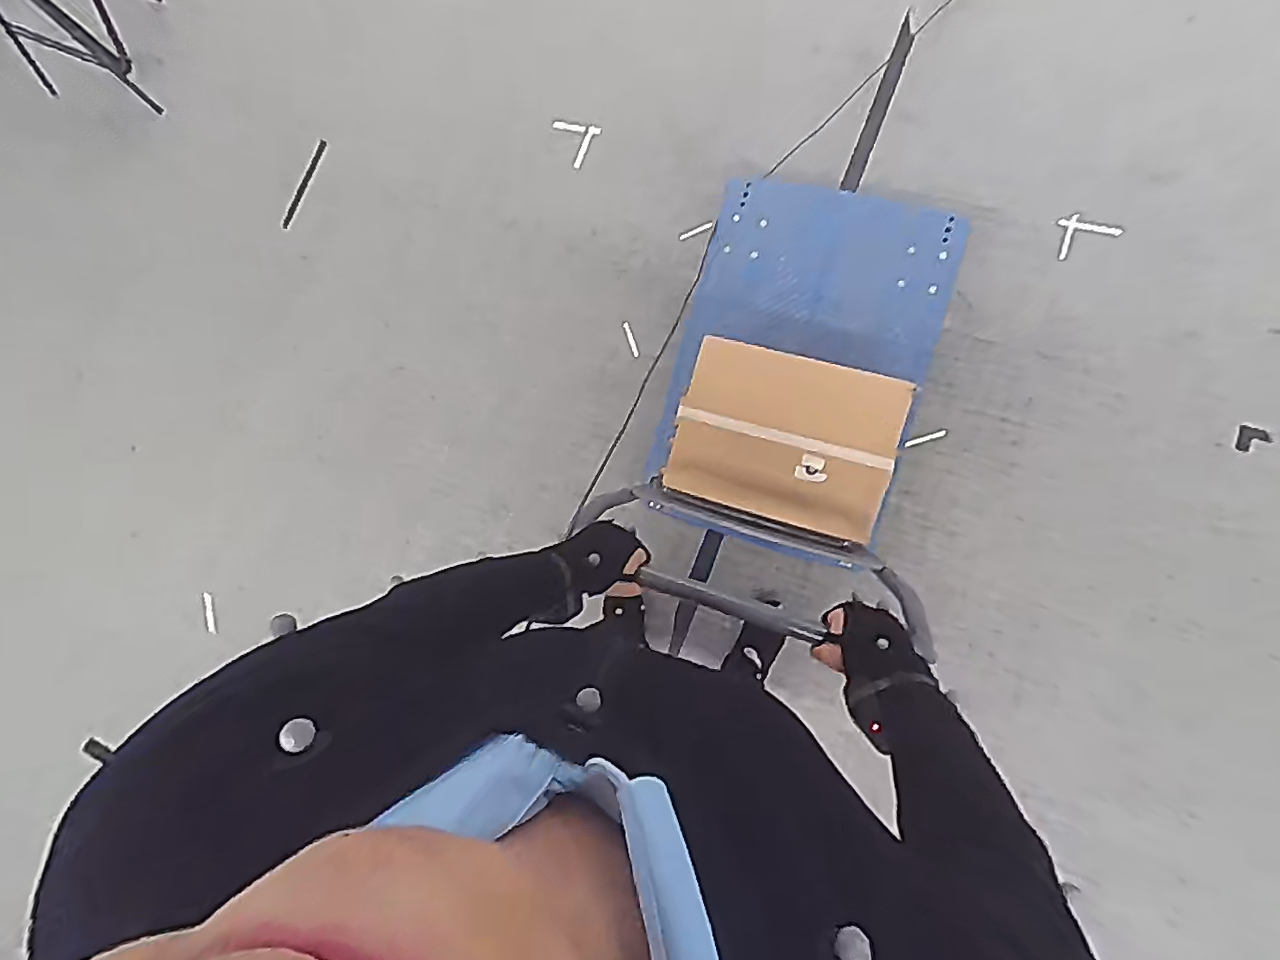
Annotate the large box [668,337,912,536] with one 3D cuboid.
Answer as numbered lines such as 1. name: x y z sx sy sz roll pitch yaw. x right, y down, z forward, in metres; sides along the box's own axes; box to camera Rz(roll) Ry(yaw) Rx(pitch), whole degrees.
1. large box: 0.308 -0.089 1.190 0.408 0.320 0.320 16 93 11
